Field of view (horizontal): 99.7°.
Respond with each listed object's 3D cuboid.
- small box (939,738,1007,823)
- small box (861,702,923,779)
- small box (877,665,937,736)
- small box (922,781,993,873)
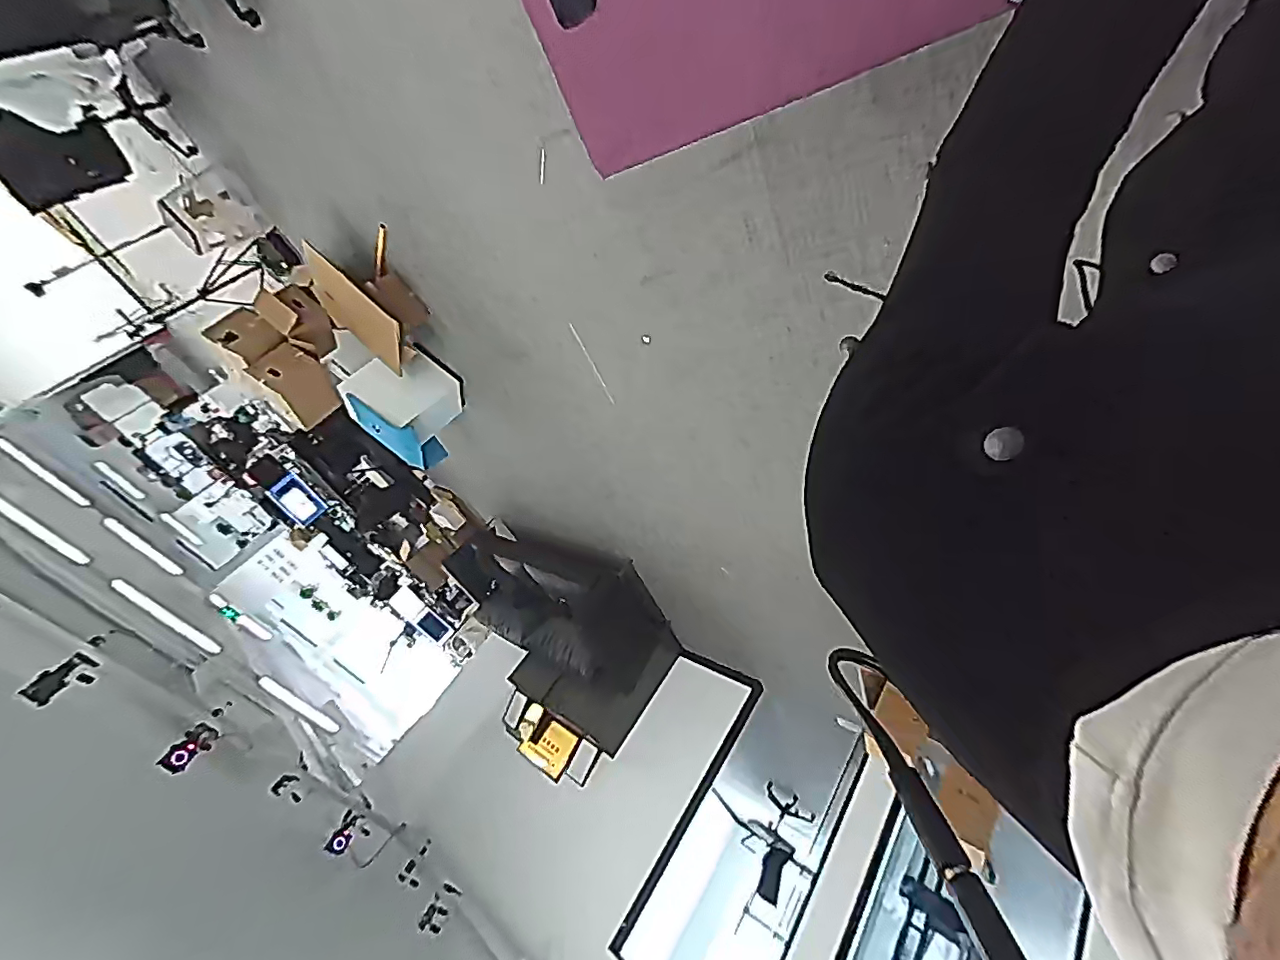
[{"bbox_3d":[1.138,1.027,1.849,0.168,0.176,0.179,14,142,40],"label":"small box"},{"bbox_3d":[0.936,0.961,2.009,0.168,0.176,0.179,16,143,39],"label":"small box"},{"bbox_3d":[1.032,0.852,2.086,0.168,0.176,0.179,15,141,39],"label":"small box"},{"bbox_3d":[1.042,1.134,1.774,0.168,0.176,0.179,14,142,39],"label":"small box"}]
